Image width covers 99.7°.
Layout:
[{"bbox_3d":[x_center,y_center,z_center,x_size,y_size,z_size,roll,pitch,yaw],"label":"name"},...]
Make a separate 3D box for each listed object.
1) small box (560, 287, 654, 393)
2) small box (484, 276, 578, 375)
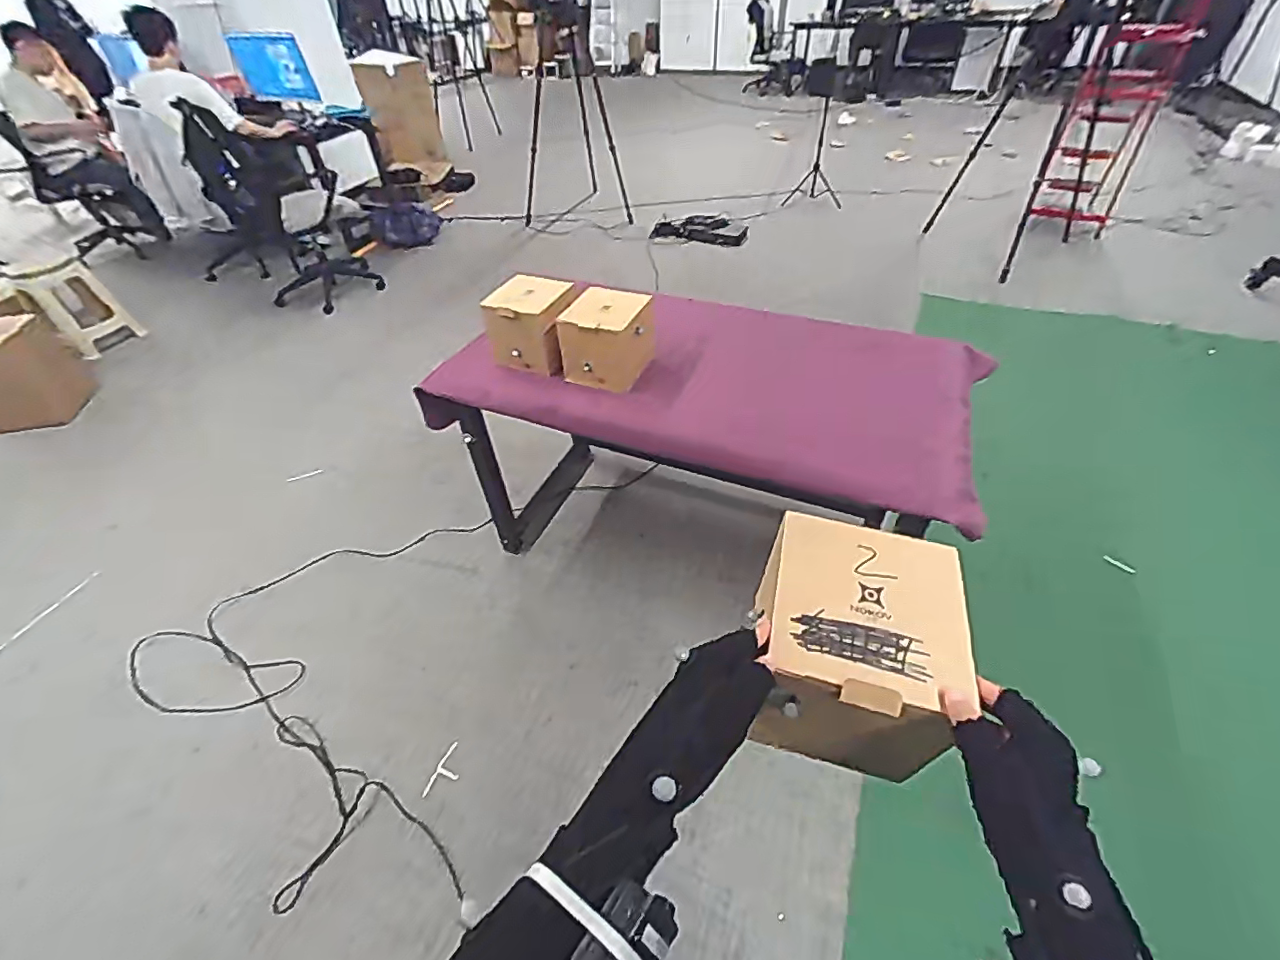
[{"bbox_3d":[-0.073,-0.339,1.305,0.168,0.176,0.179,15,48,18],"label":"small box"},{"bbox_3d":[-0.263,-0.392,1.368,0.168,0.176,0.179,15,48,18],"label":"small box"}]
